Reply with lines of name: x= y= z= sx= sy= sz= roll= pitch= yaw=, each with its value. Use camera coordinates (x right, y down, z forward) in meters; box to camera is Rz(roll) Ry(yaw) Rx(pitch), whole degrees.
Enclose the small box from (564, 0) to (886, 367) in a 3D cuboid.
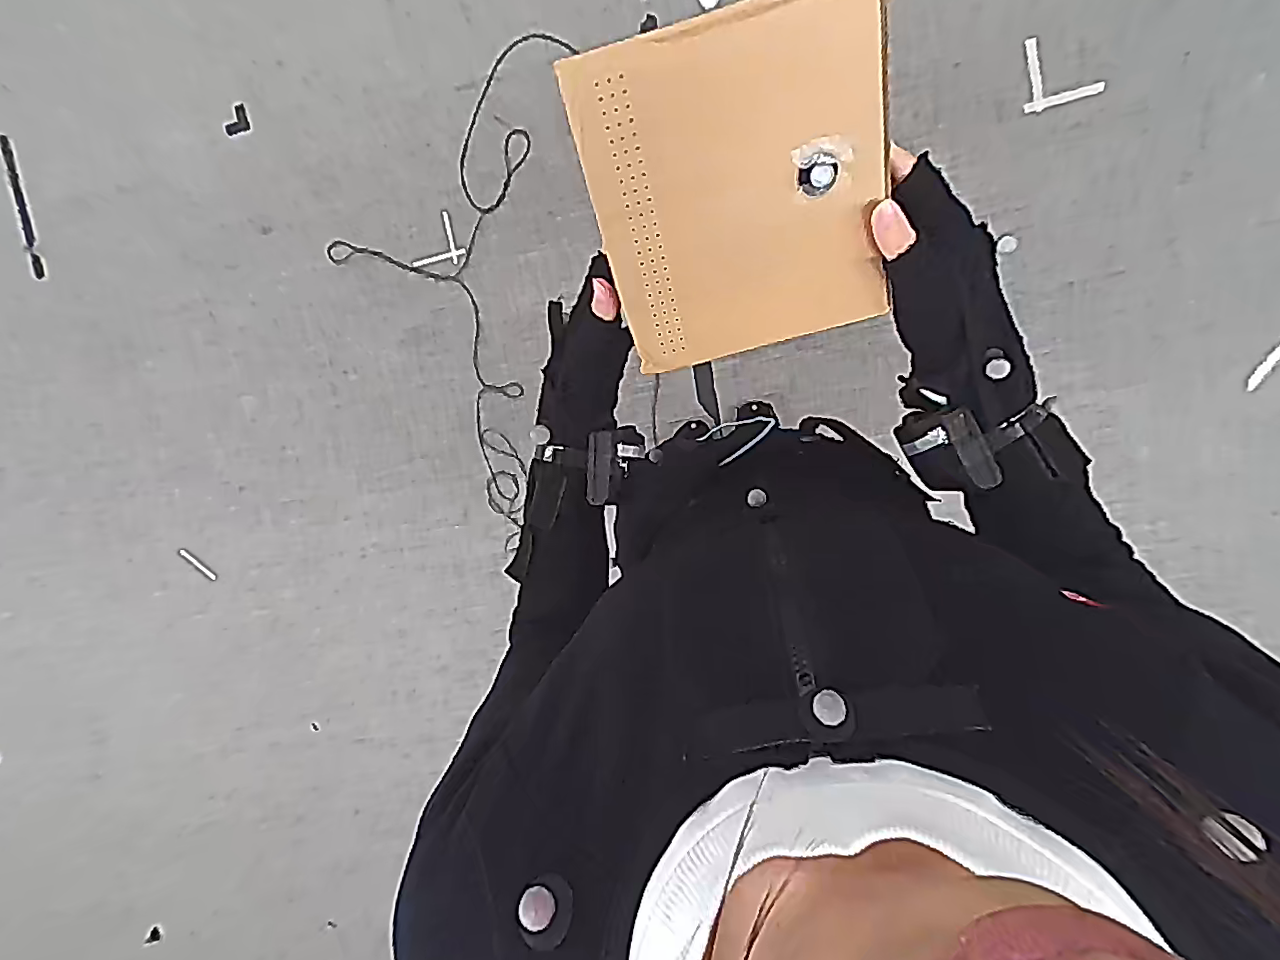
small box: x=0.054 y=-0.205 z=0.384 sx=0.176 sy=0.168 sz=0.179 roll=-13 pitch=123 yaw=8
